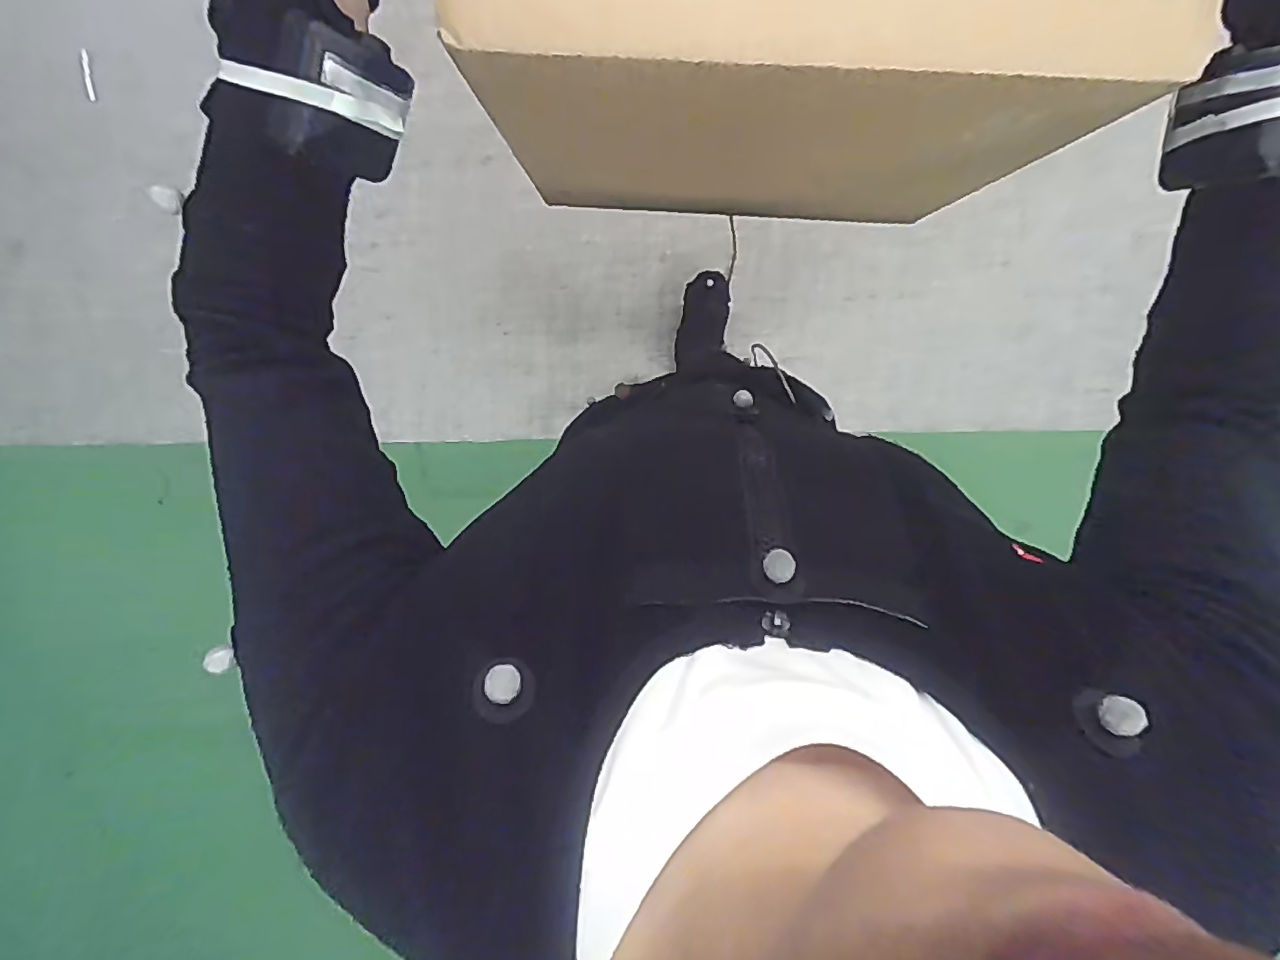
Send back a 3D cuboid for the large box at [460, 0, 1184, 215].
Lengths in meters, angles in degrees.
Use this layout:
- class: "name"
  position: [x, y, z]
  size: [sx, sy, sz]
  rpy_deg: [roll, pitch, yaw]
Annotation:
- class: "large box"
  position: [0.101, -0.411, 0.415]
  size: [0.408, 0.320, 0.320]
  rpy_deg: [2, 103, 0]
